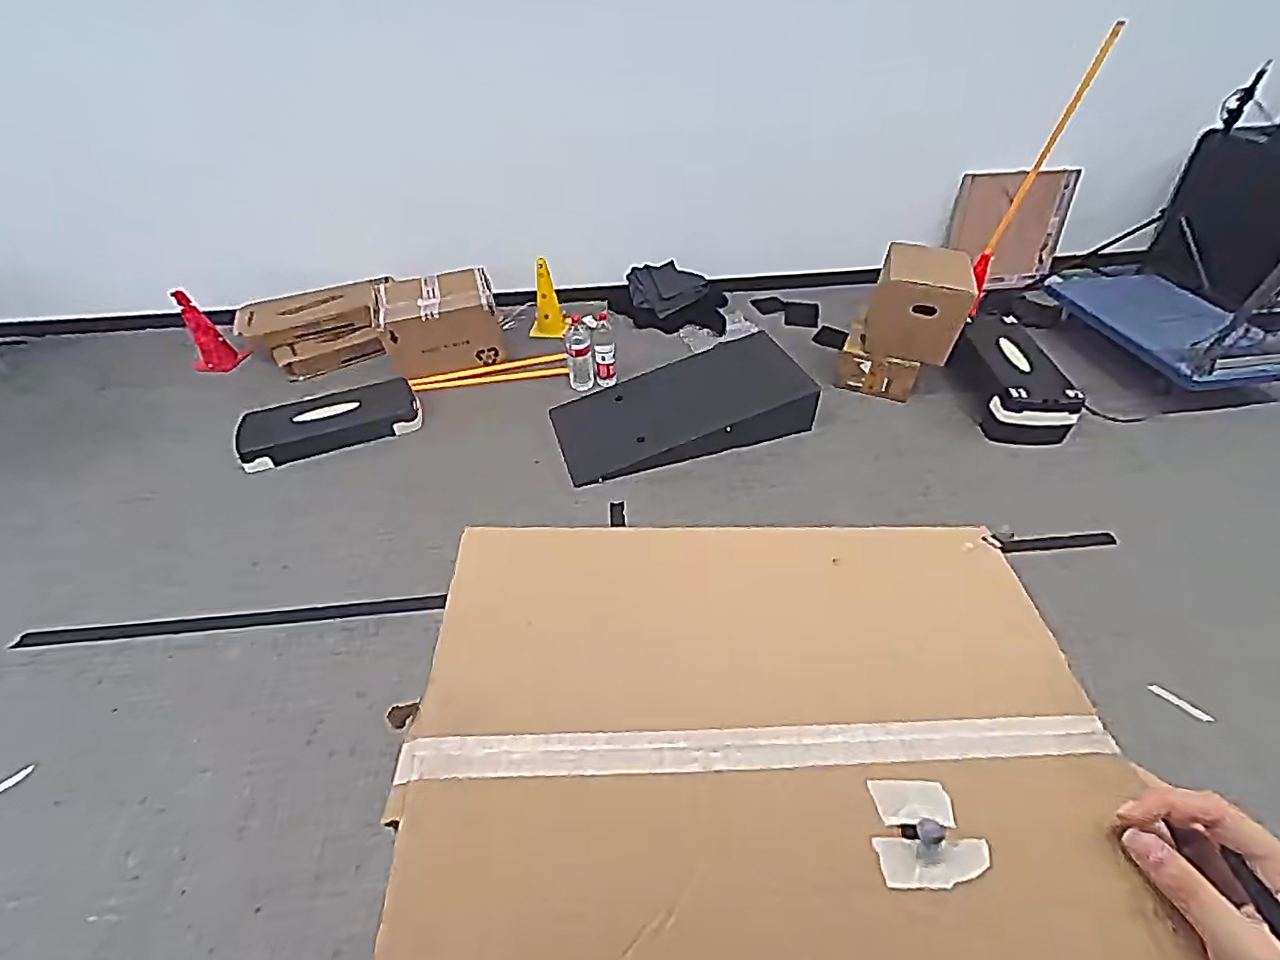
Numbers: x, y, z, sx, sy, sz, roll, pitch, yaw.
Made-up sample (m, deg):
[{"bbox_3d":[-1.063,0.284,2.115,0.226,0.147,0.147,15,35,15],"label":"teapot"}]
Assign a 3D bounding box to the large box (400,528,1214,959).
[{"bbox_3d":[0.068,0.251,0.434,0.408,0.320,0.320,1,49,-5],"label":"large box"}]
